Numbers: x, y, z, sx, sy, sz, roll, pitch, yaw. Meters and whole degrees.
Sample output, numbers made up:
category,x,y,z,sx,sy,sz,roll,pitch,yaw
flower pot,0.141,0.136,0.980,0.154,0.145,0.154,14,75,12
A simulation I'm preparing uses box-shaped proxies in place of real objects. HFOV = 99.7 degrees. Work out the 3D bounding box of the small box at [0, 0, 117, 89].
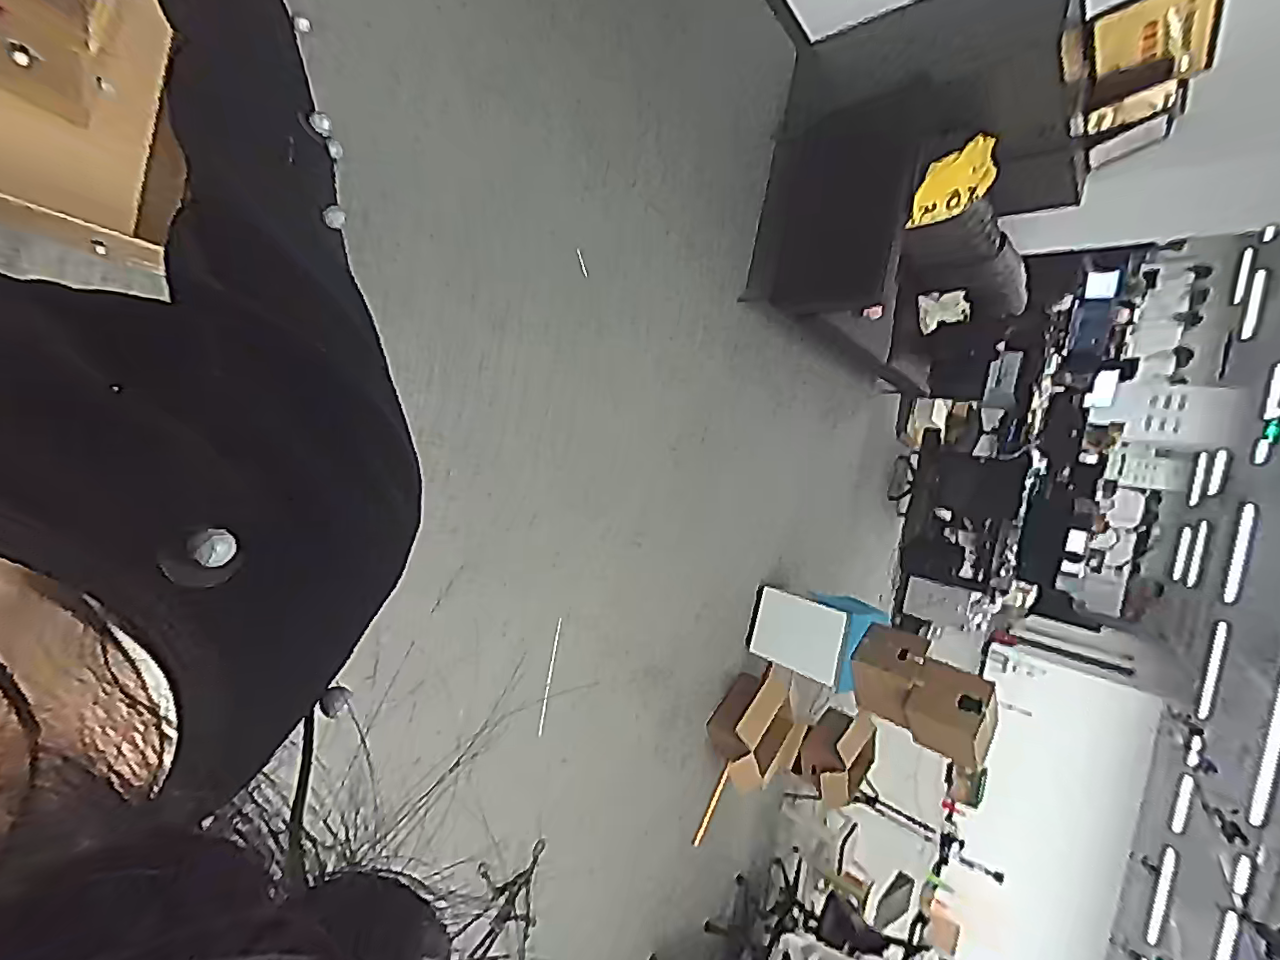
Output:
category,x,y,z,sx,sy,sz,roll,pitch,yaw
small box,-0.625,-0.516,0.512,0.179,0.176,0.168,18,87,-46

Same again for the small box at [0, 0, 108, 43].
category,x,y,z,sx,sy,sz,roll,pitch,yaw
small box,-0.507,-0.490,0.405,0.179,0.176,0.168,20,84,-47
